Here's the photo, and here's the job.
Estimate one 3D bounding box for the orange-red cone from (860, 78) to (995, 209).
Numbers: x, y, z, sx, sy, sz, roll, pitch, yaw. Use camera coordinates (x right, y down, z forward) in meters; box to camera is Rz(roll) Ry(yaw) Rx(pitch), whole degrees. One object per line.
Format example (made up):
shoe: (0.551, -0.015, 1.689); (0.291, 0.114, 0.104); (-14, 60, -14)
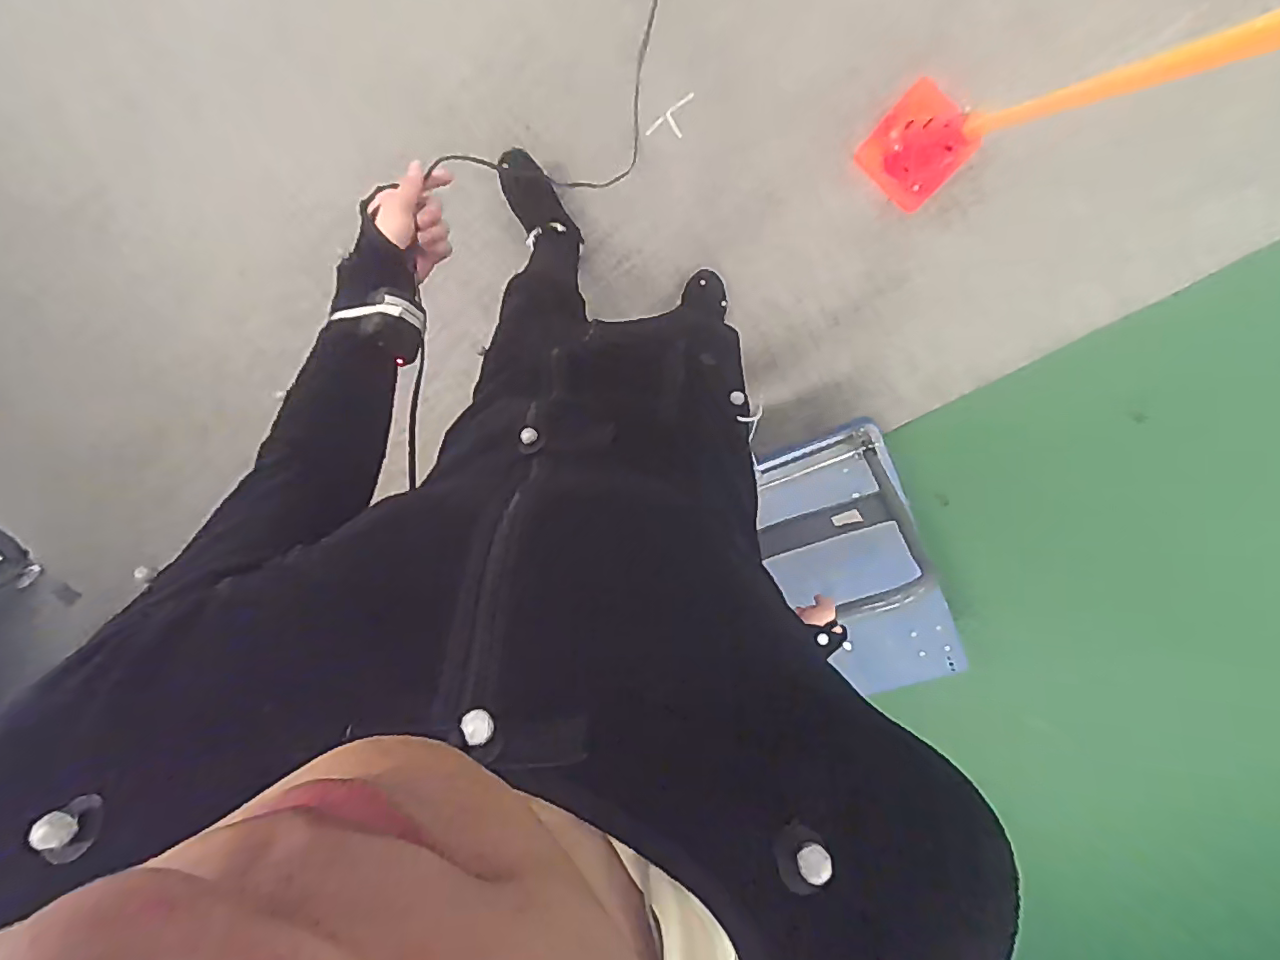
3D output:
orange-red cone: (0.599, -0.671, 1.055); (0.198, 0.360, 0.199); (40, 115, -11)
